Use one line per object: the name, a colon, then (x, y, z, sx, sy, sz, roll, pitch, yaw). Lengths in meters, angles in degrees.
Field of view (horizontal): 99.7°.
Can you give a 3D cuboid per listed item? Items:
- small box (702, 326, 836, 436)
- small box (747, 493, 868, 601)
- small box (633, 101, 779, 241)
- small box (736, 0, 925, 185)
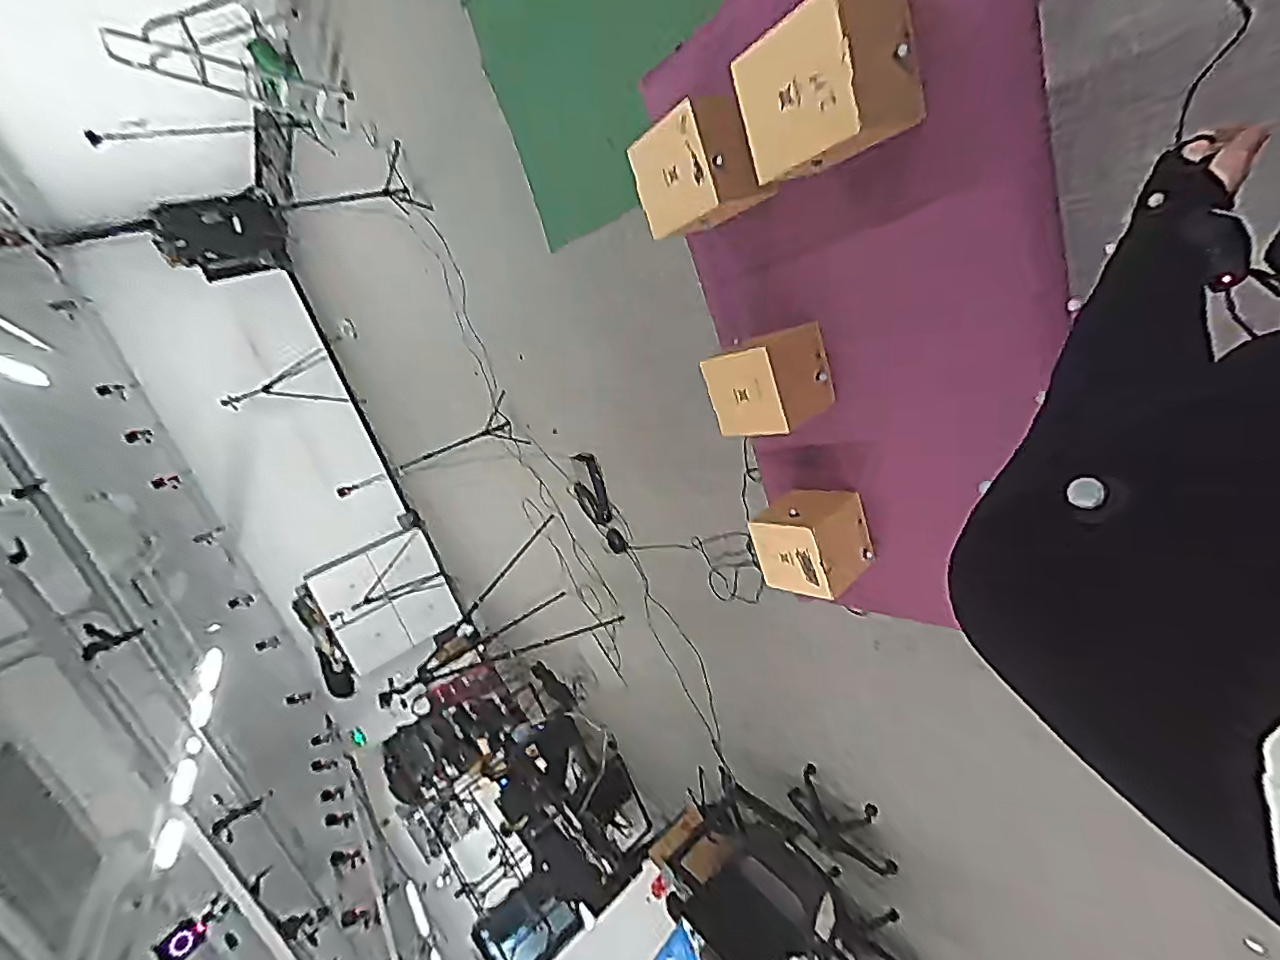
small box: (0.259, -0.194, 1.081, 0.179, 0.176, 0.168, 3, 117, 54)
small box: (0.370, 0.135, 1.172, 0.179, 0.176, 0.168, 1, 114, 55)
small box: (0.122, -0.561, 0.990, 0.179, 0.176, 0.168, 1, 116, 55)
small box: (0.272, -0.550, 0.776, 0.179, 0.176, 0.168, 6, 120, 55)
